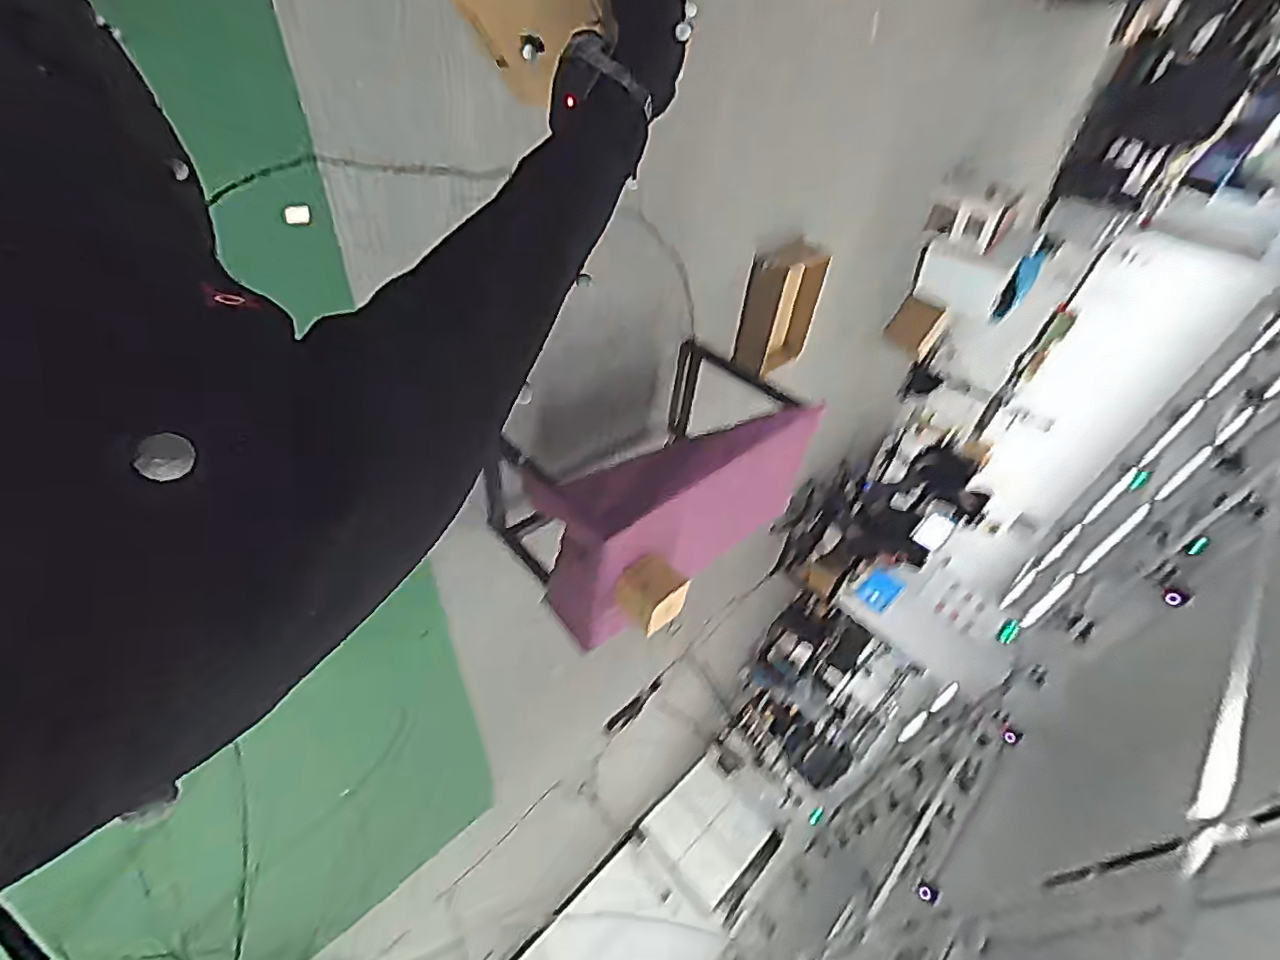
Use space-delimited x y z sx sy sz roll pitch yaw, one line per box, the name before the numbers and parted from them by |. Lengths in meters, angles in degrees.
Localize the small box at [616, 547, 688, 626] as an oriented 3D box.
small box | 0.036 0.350 1.827 0.168 0.176 0.179 -29 145 -34
